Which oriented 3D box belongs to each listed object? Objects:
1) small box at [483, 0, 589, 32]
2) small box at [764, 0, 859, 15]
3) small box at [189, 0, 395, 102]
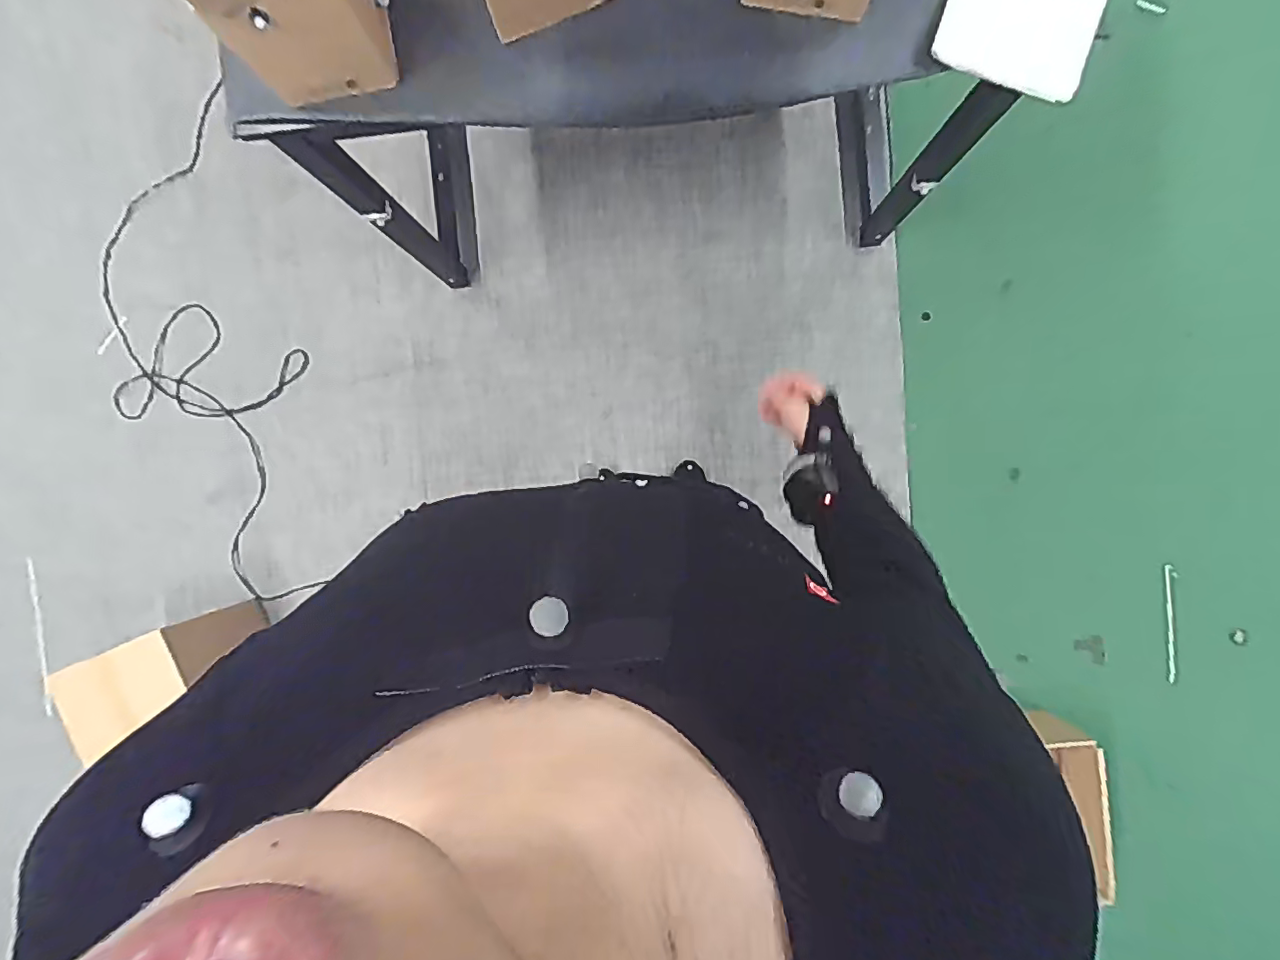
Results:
[{"bbox_3d":[-0.149,-0.719,0.672,0.179,0.176,0.168,-21,91,3],"label":"small box"},{"bbox_3d":[0.223,-0.725,0.650,0.168,0.176,0.179,11,92,3],"label":"small box"},{"bbox_3d":[-0.439,-0.632,0.686,0.168,0.176,0.179,-10,91,2],"label":"small box"}]
